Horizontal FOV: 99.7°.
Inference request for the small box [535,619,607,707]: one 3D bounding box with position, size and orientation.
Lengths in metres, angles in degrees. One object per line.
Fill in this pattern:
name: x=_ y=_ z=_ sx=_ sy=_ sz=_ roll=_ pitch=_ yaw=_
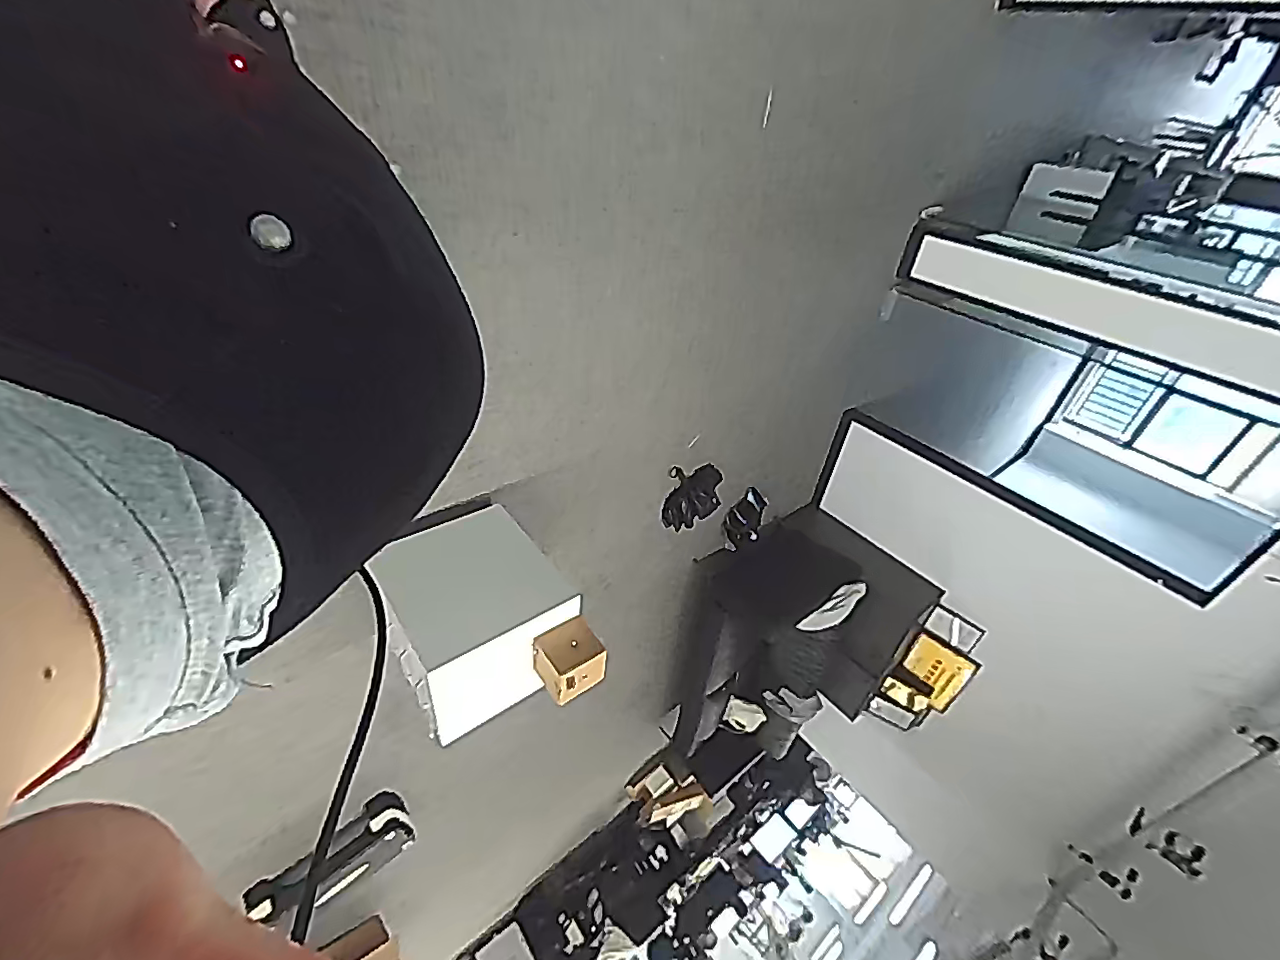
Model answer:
small box: x=-0.229 y=0.590 z=1.761 sx=0.179 sy=0.176 sz=0.168 roll=-22 pitch=136 yaw=-34
